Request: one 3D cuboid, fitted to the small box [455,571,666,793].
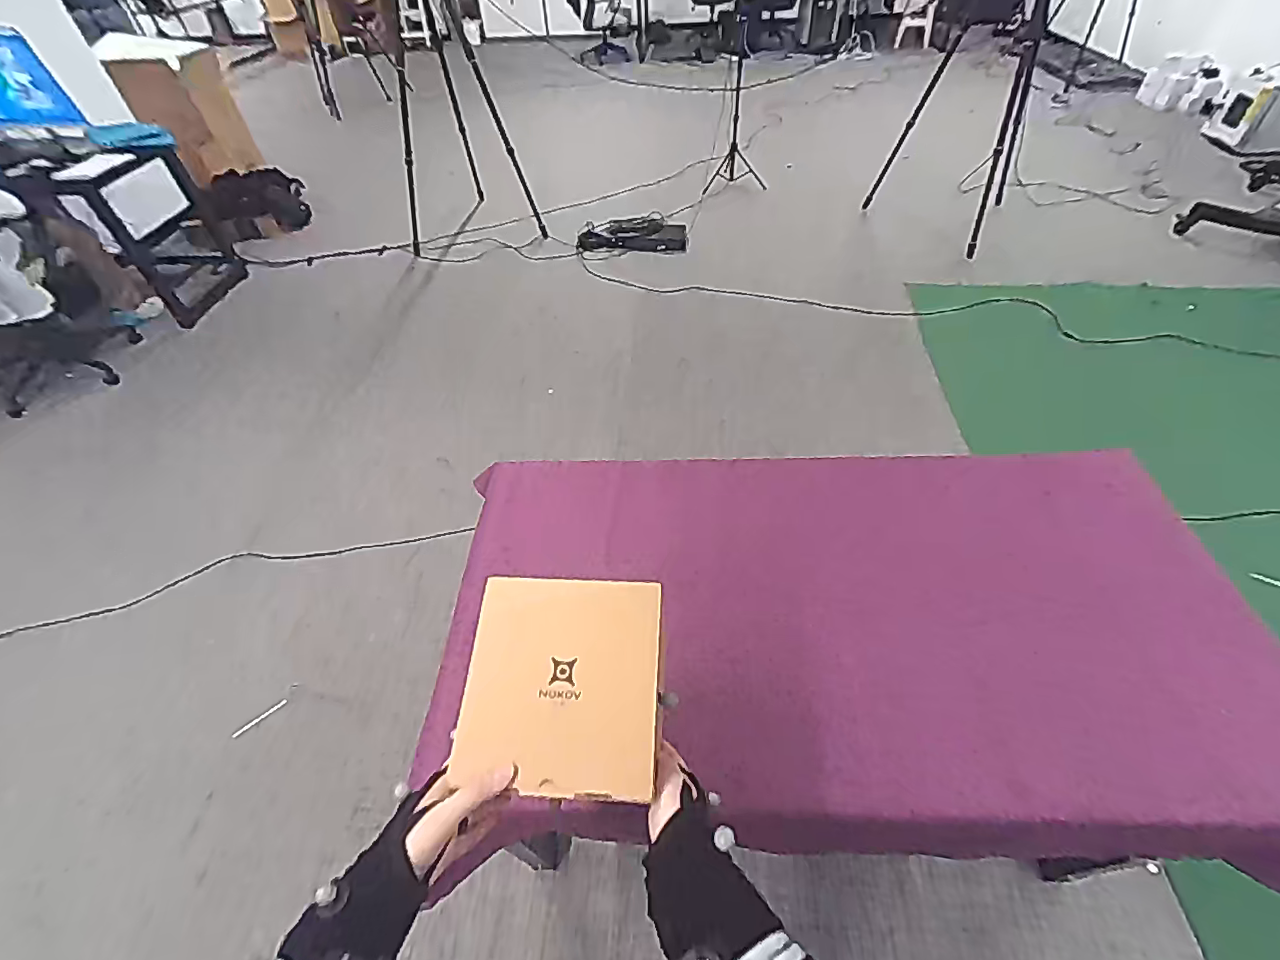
[{"bbox_3d":[-0.060,0.204,0.535,0.168,0.176,0.179,1,61,4],"label":"small box"}]
